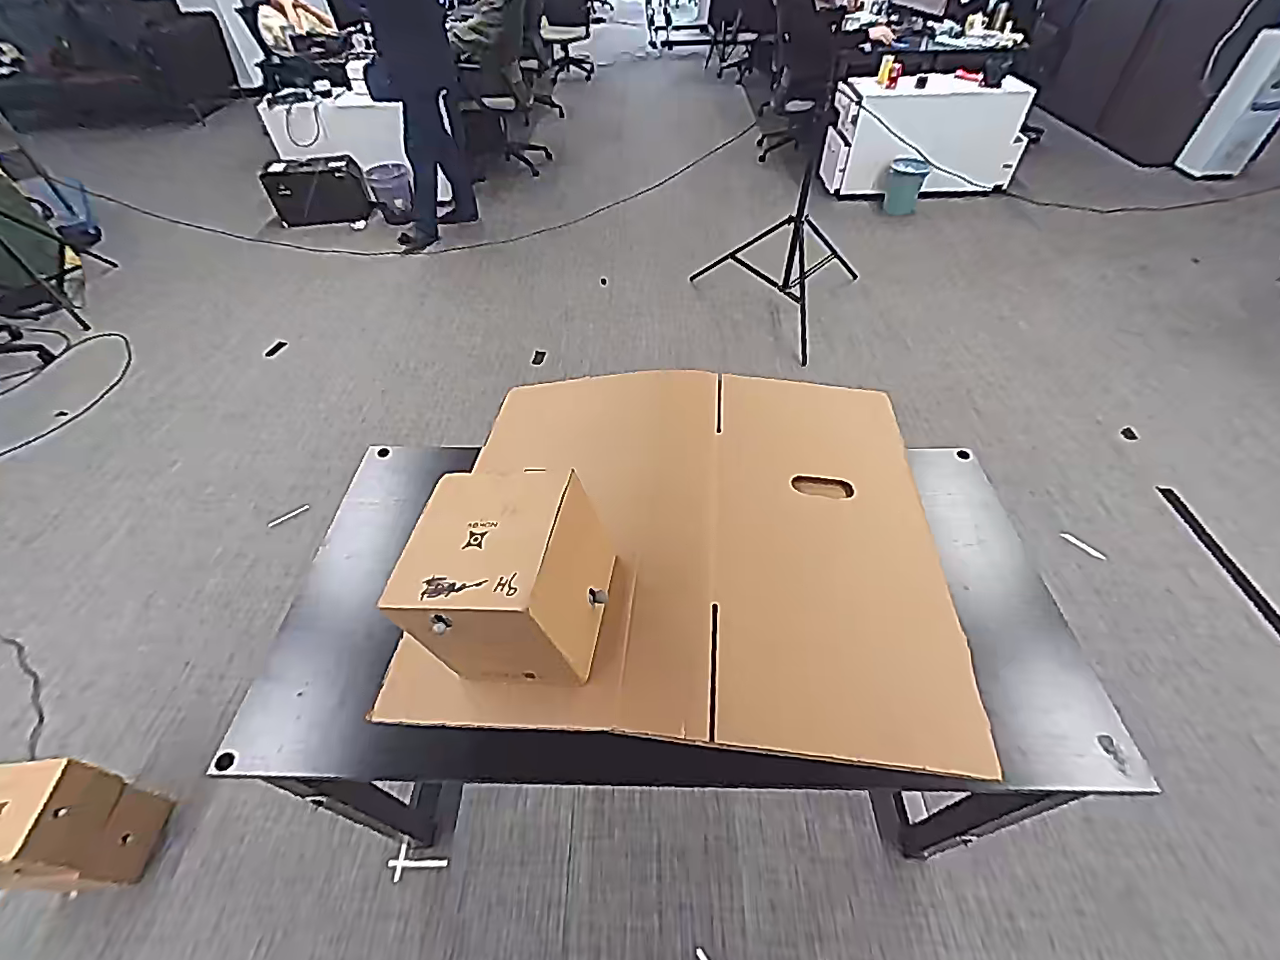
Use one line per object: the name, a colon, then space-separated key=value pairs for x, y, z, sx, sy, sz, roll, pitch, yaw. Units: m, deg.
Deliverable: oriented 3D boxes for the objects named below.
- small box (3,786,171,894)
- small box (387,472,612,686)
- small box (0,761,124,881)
small box: x=-1.216 y=0.809 z=1.212 sx=0.168 sy=0.176 sz=0.179 roll=-3 pitch=49 yaw=-1
small box: x=-0.140 y=0.112 z=0.617 sx=0.168 sy=0.176 sz=0.179 roll=-3 pitch=47 yaw=17
small box: x=-1.221 y=0.695 z=1.096 sx=0.168 sy=0.176 sz=0.179 roll=-5 pitch=47 yaw=-4
